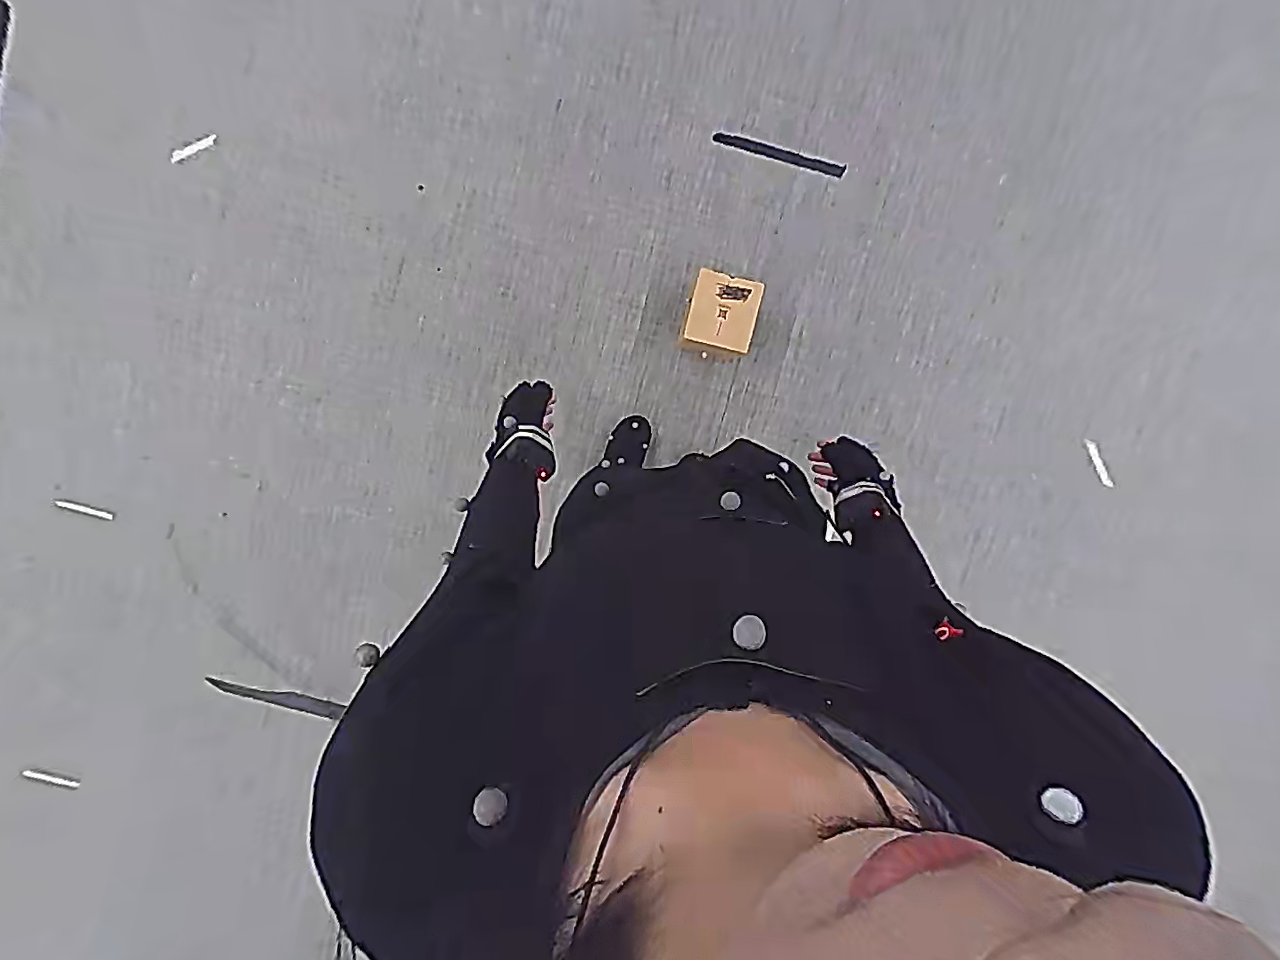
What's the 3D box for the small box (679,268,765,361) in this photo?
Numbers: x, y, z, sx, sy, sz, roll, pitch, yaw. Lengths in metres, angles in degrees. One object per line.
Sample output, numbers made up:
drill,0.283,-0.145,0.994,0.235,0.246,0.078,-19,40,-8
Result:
small box,0.202,-0.417,1.393,0.168,0.176,0.179,14,96,-3
